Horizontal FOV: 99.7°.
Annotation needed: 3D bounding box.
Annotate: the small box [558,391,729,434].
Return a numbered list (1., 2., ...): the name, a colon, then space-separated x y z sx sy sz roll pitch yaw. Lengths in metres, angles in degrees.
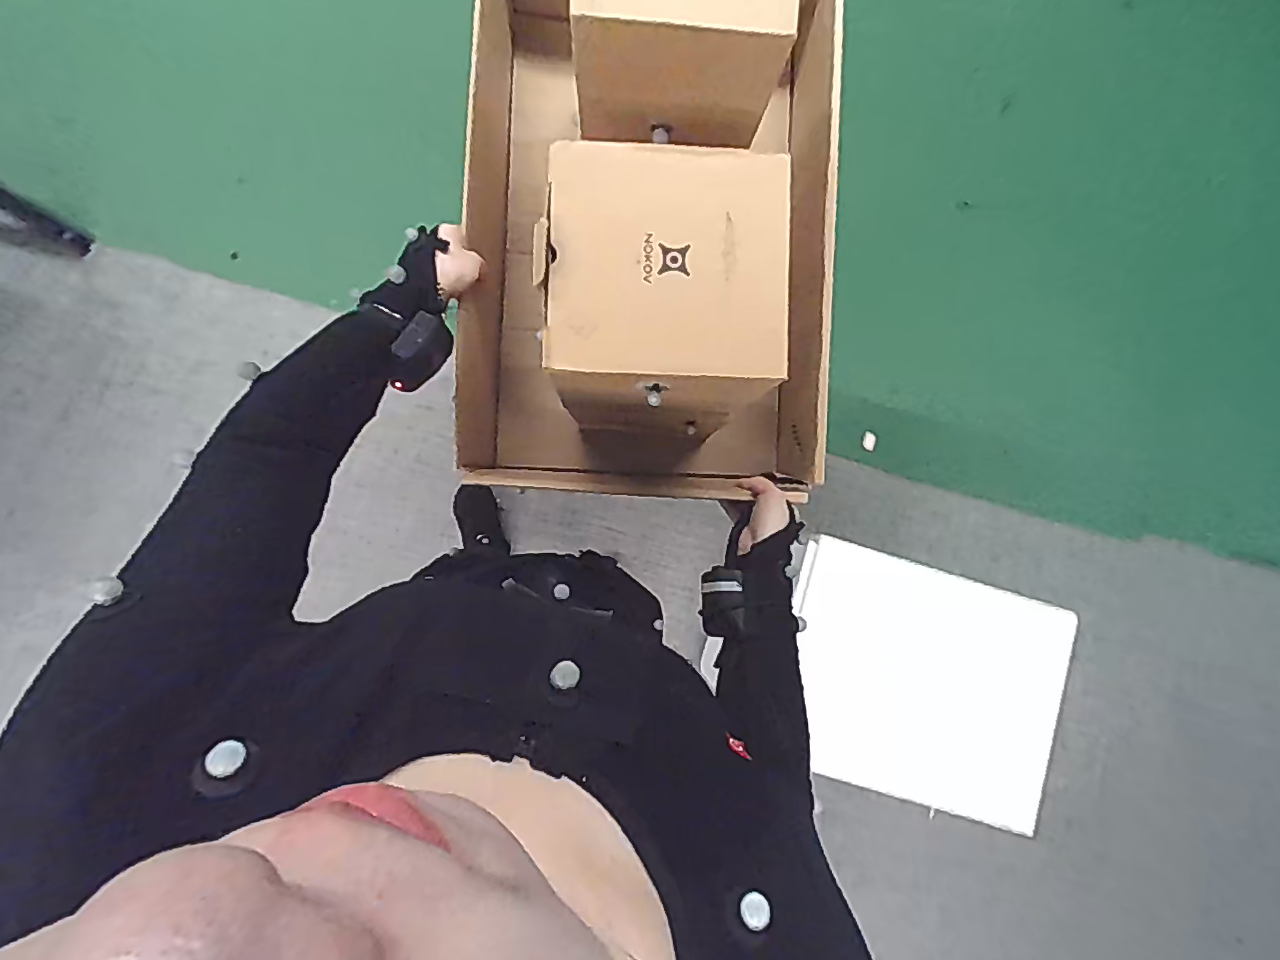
1. small box: 0.006 -0.147 0.628 0.179 0.176 0.168 3 88 -3

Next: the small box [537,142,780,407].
1. small box: 0.010 -0.156 0.466 0.179 0.176 0.168 0 89 -4
